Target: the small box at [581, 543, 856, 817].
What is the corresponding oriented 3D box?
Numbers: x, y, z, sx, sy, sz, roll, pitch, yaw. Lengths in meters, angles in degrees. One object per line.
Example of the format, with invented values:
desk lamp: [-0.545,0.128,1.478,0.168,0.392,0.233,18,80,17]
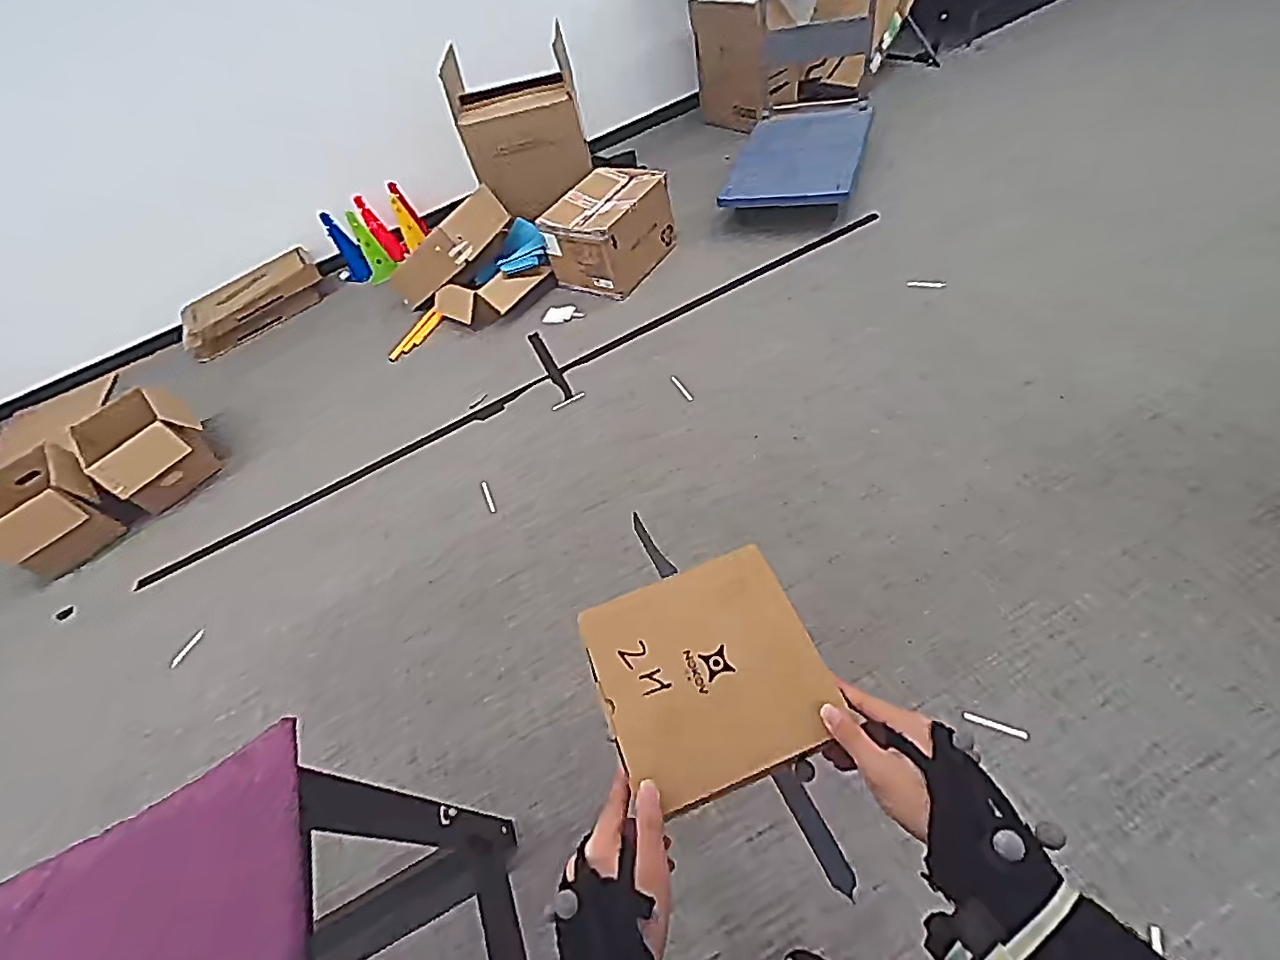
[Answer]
small box: [0.062,0.188,0.501,0.179,0.176,0.168,-20,57,-6]
